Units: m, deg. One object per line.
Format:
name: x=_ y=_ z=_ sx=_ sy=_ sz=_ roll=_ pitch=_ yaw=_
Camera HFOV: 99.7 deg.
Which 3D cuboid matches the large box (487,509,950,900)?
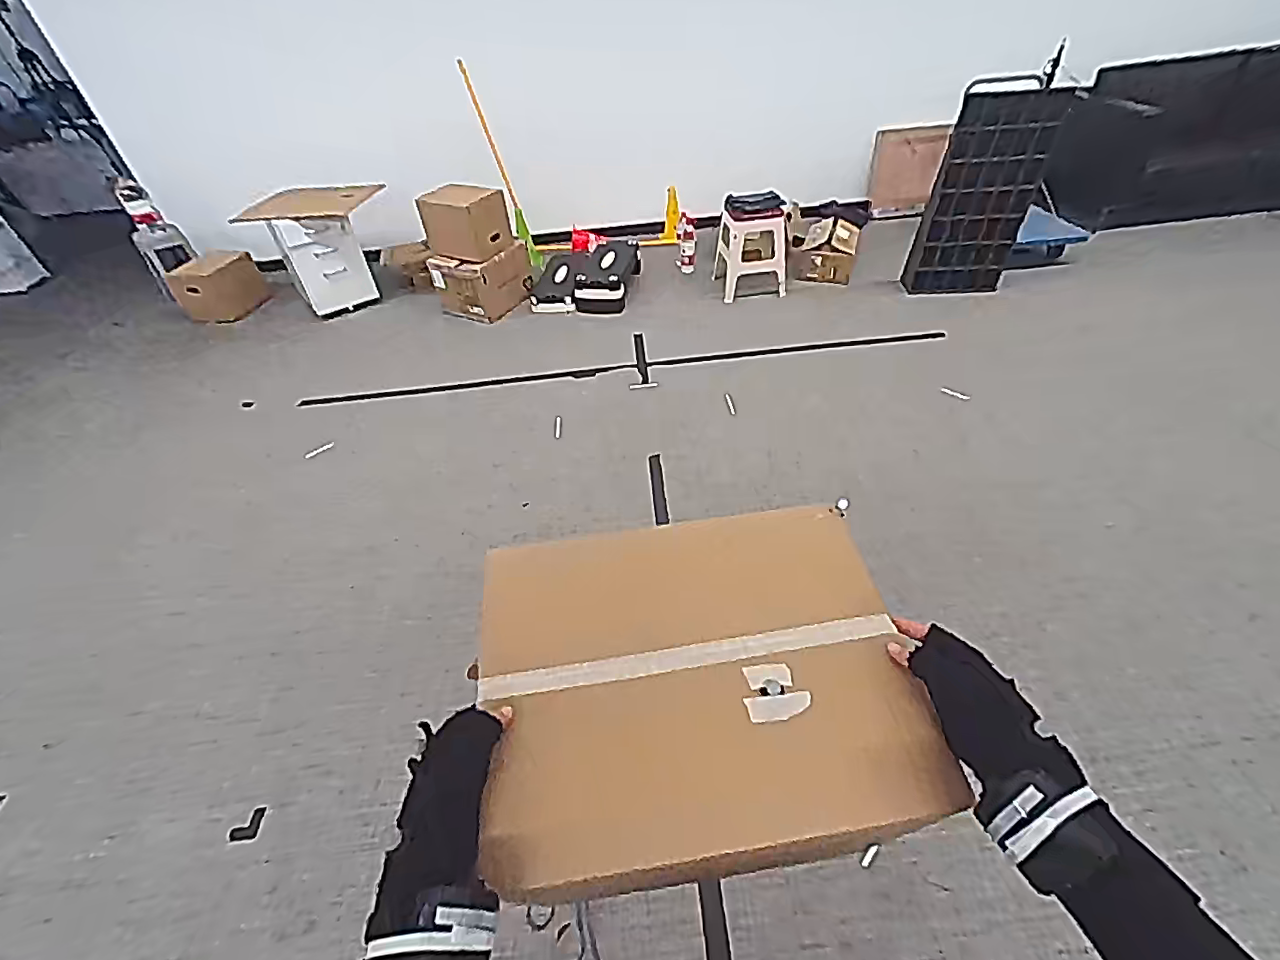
large box: x=0.053 y=0.273 z=0.653 sx=0.408 sy=0.320 sz=0.320 roll=-8 pitch=51 yaw=-4
